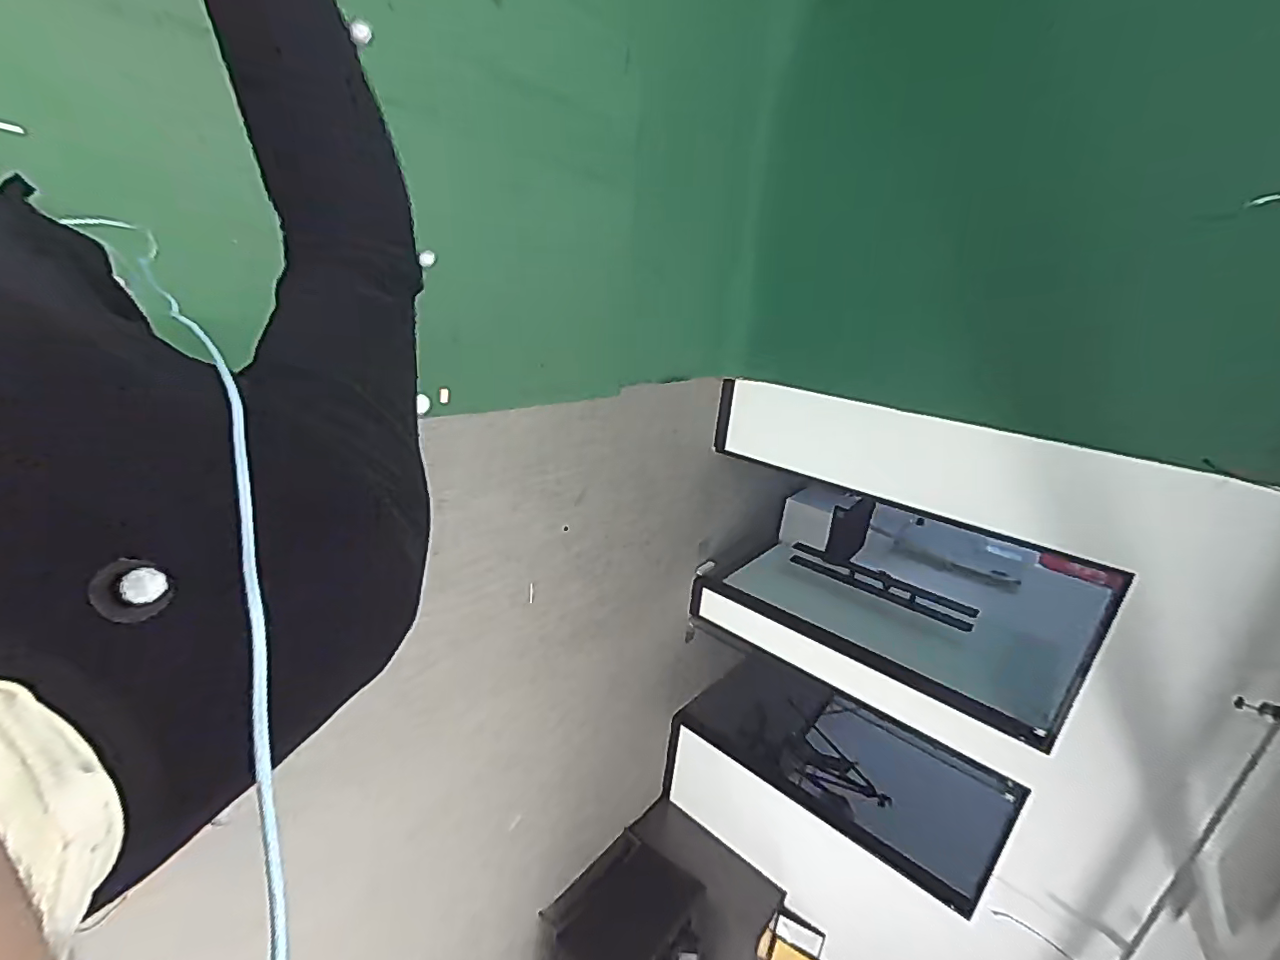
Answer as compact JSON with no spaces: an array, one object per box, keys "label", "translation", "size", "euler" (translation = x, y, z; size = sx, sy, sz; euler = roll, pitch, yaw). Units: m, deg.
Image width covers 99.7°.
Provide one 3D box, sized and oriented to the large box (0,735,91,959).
[{"label":"large box","translation":[-1.455,0.819,1.094],"size":[0.408,0.320,0.320],"euler":[-19,121,-48]}]
